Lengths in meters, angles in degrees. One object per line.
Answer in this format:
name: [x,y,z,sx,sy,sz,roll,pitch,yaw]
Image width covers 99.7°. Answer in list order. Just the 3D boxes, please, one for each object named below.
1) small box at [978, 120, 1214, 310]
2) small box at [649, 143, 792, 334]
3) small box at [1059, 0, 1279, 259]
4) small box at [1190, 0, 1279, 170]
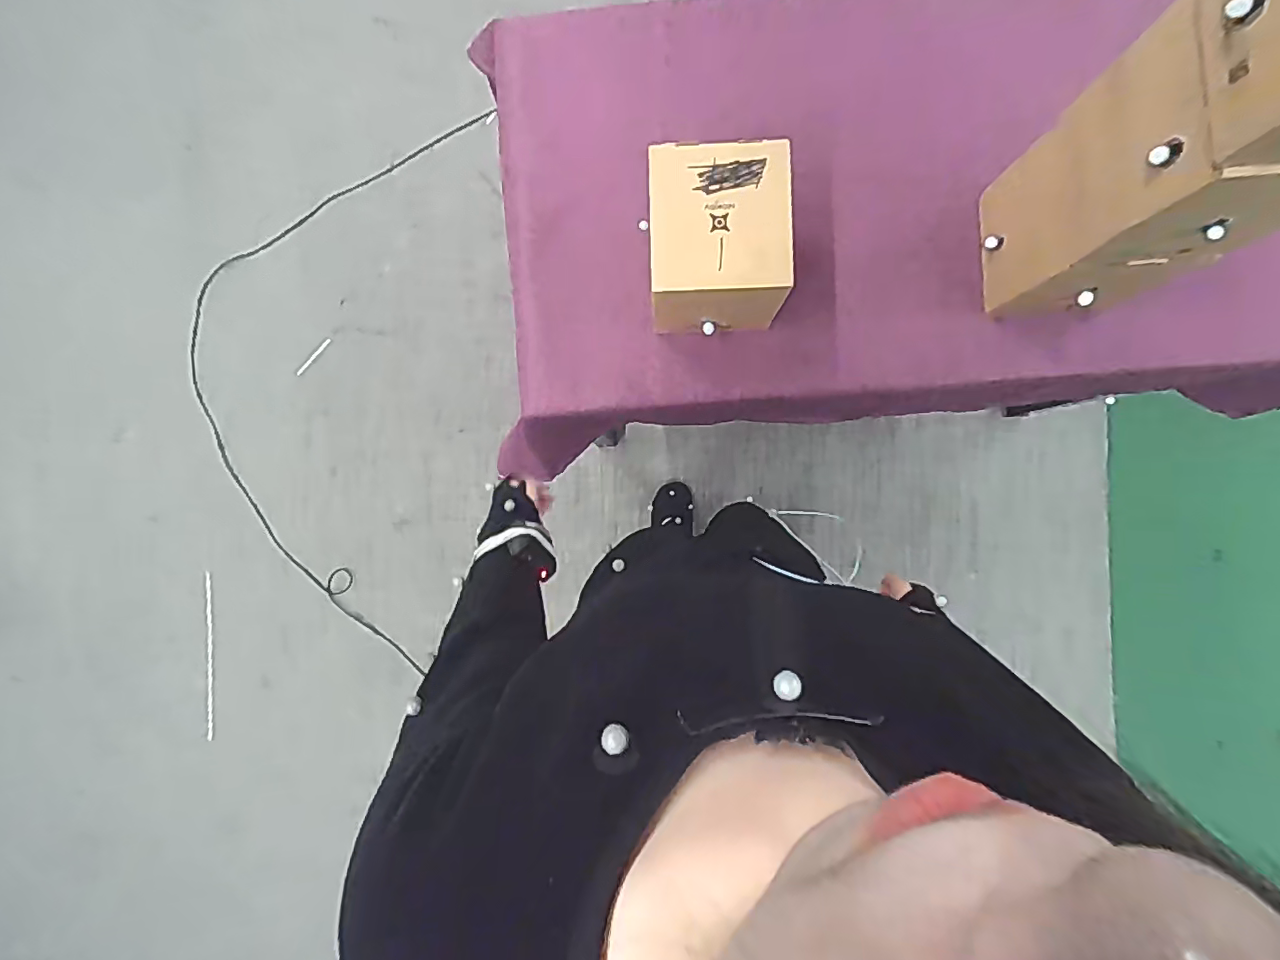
small box: [0.561,-0.325,0.688,0.168,0.176,0.179,-2,89,2]
small box: [0.095,-0.302,0.706,0.168,0.176,0.179,-1,89,2]
small box: [0.550,-0.329,0.523,0.168,0.176,0.179,-3,88,2]
small box: [0.539,-0.338,0.361,0.179,0.176,0.168,-3,87,3]
